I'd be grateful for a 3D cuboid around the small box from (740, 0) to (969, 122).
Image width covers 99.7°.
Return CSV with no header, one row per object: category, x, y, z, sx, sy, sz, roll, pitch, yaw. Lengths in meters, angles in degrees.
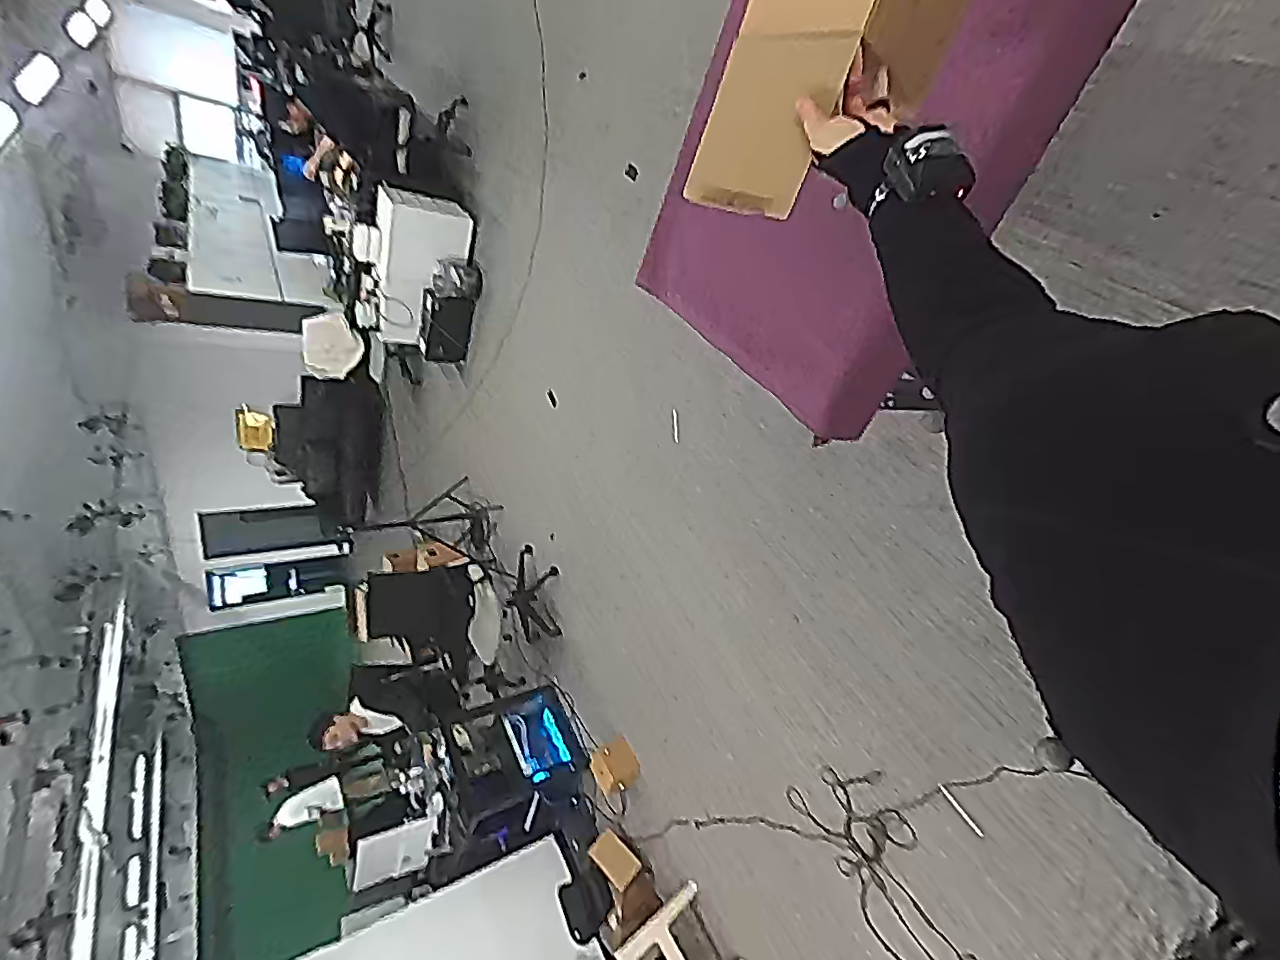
small box,0.252,-0.542,0.617,0.168,0.176,0.179,35,112,37
